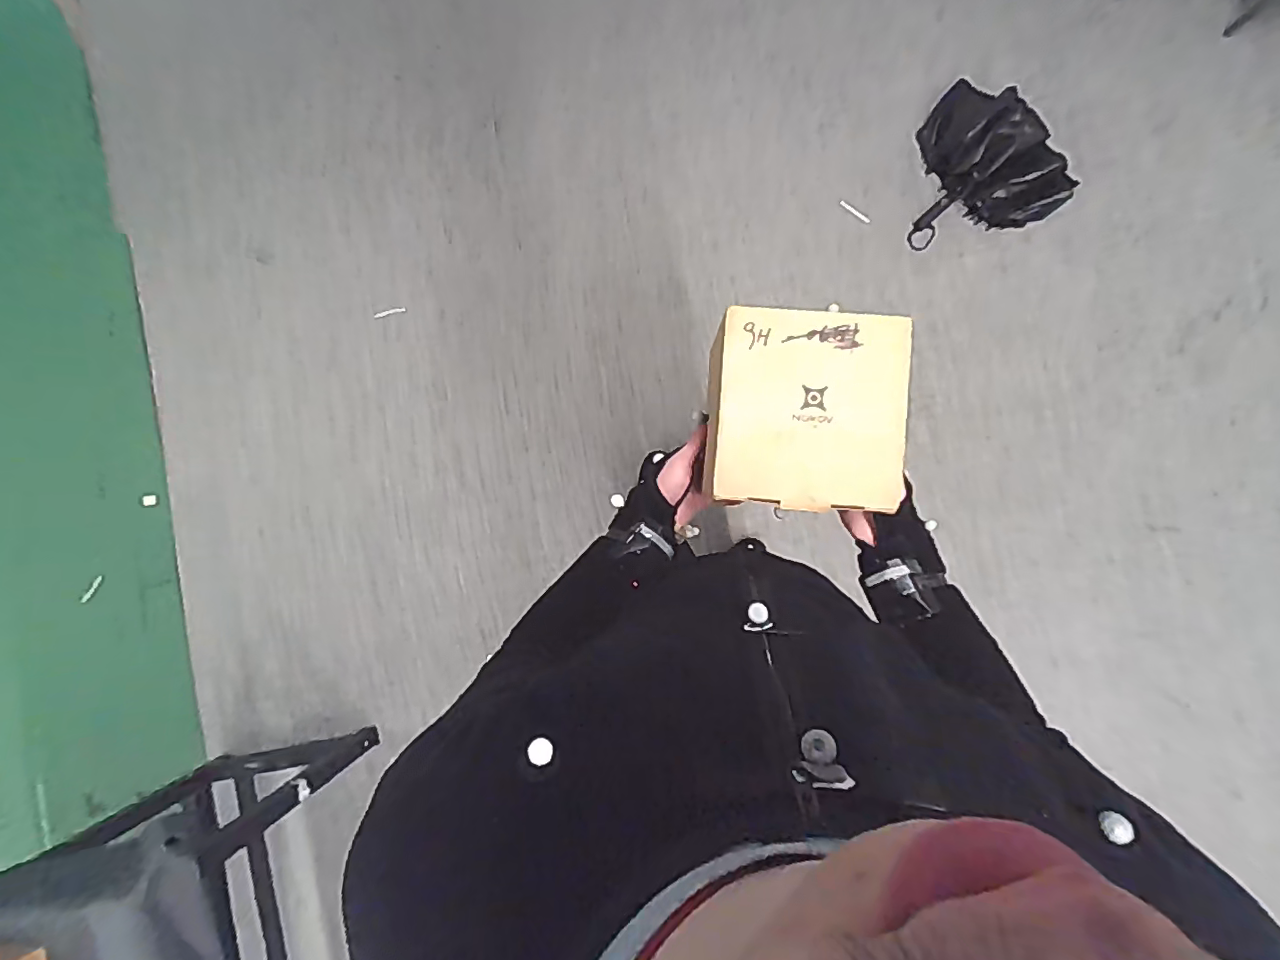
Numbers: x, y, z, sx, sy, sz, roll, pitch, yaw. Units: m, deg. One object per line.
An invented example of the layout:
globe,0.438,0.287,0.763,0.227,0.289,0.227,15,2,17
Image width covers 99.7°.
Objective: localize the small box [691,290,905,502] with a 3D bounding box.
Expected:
small box,0.144,-0.075,0.552,0.168,0.176,0.179,5,91,1
